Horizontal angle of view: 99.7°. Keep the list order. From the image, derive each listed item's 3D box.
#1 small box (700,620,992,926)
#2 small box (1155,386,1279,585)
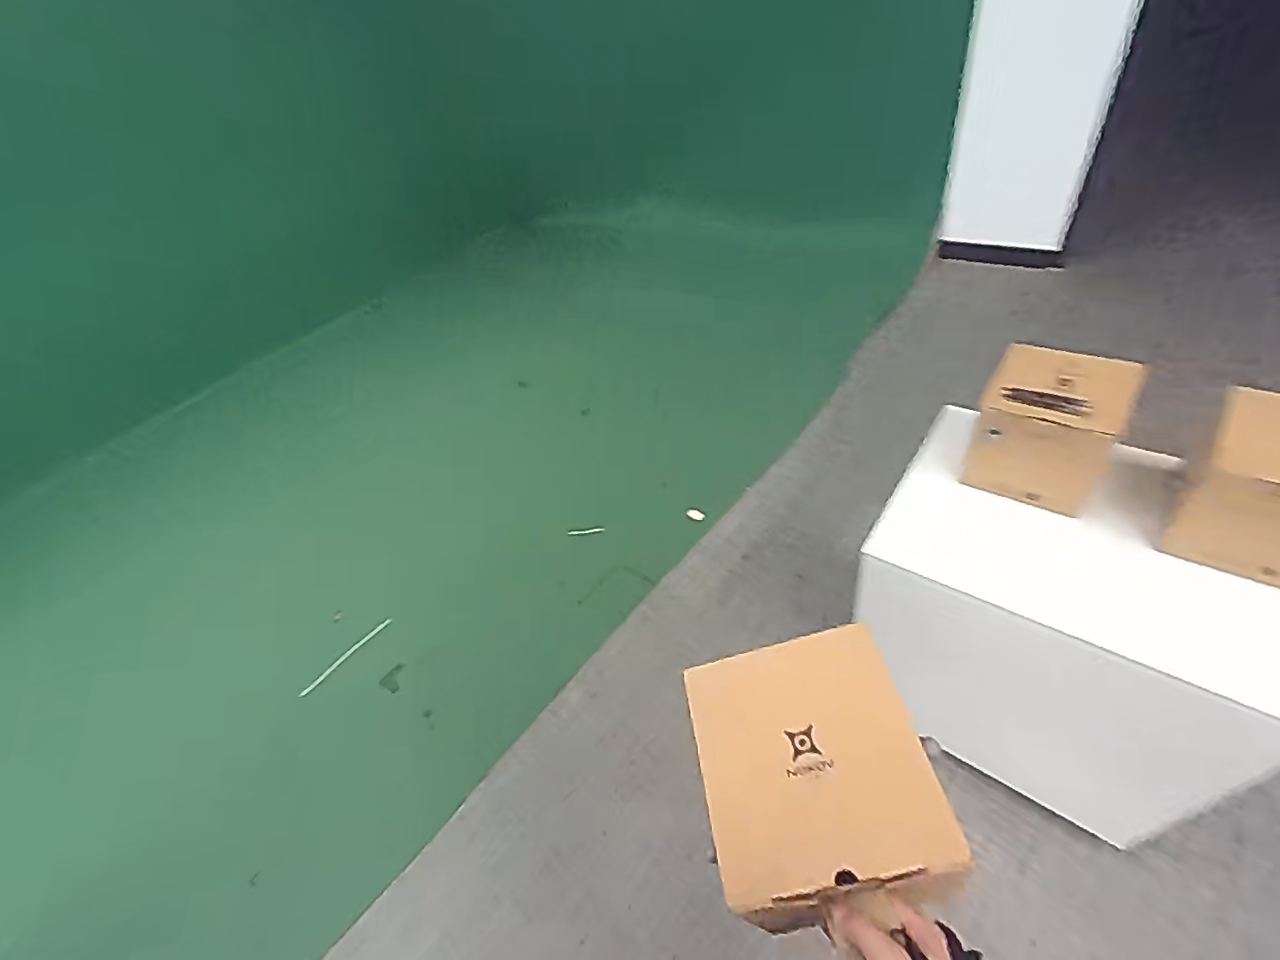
[{"bbox_3d":[0.162,0.254,0.466,0.168,0.176,0.179,-18,44,9],"label":"small box"},{"bbox_3d":[0.810,0.011,0.694,0.168,0.176,0.179,23,56,33],"label":"small box"}]
